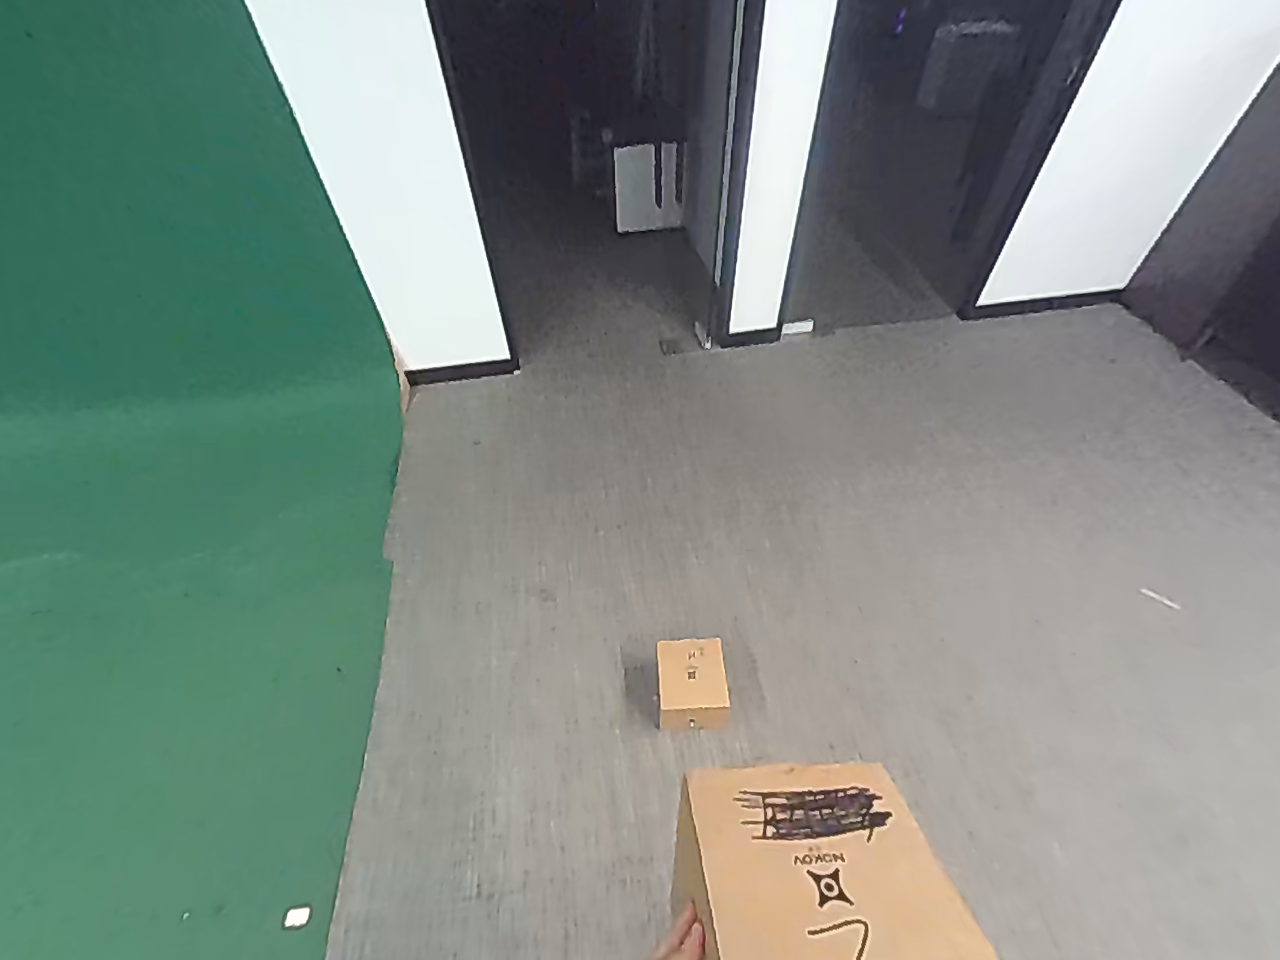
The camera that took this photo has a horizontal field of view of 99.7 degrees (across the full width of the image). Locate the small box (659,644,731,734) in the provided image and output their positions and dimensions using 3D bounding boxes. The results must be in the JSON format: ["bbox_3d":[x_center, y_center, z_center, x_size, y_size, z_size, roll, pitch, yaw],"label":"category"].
[{"bbox_3d":[0.134,0.538,1.380,0.168,0.176,0.179,-2,48,0],"label":"small box"}]
